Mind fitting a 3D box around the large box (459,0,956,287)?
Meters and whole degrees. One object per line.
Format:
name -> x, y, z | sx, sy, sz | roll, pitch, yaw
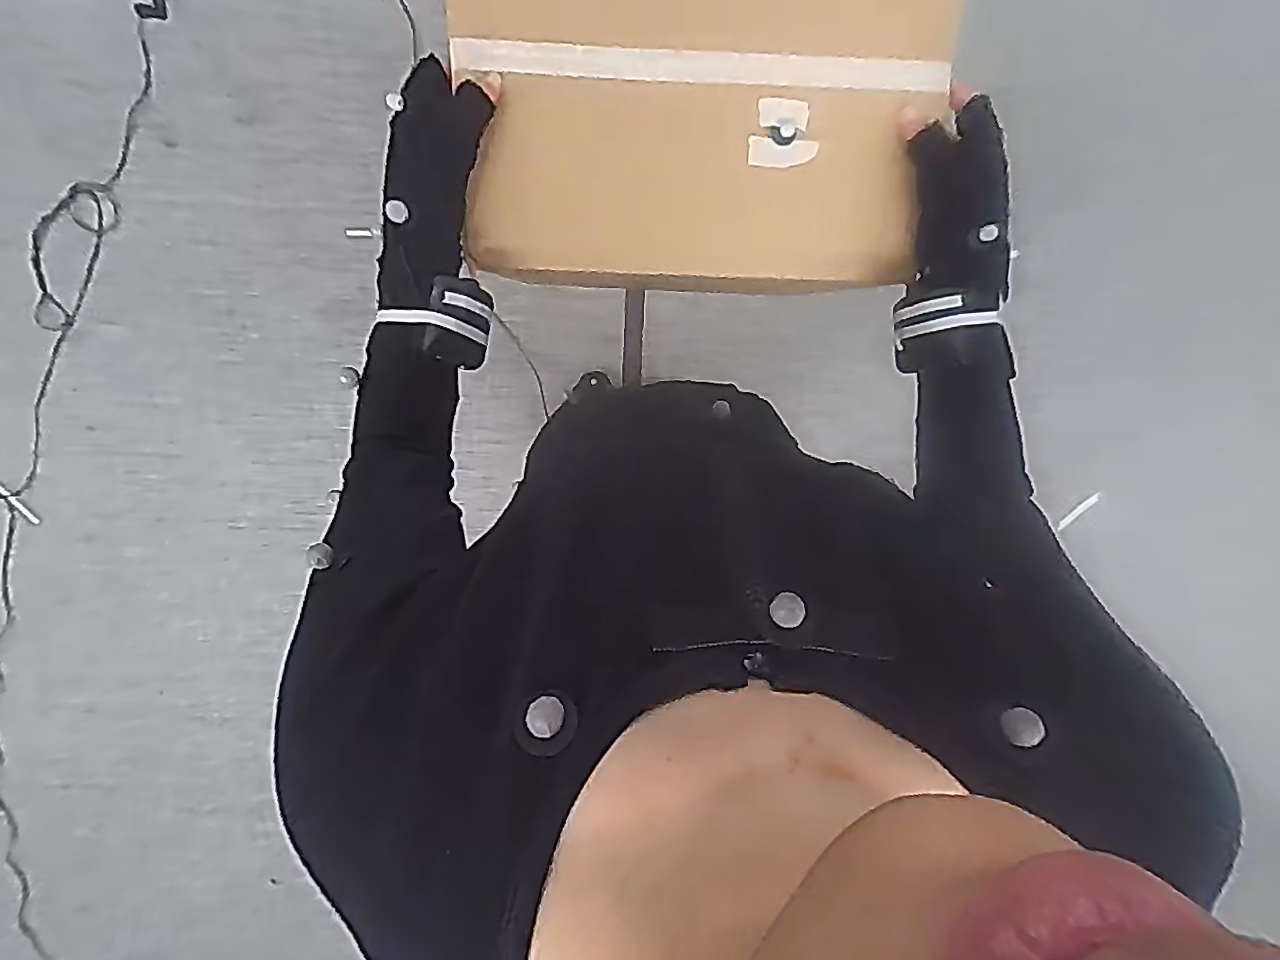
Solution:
large box -> 0.046, -0.381, 0.584 | 0.408, 0.320, 0.320 | 0, 108, -4
